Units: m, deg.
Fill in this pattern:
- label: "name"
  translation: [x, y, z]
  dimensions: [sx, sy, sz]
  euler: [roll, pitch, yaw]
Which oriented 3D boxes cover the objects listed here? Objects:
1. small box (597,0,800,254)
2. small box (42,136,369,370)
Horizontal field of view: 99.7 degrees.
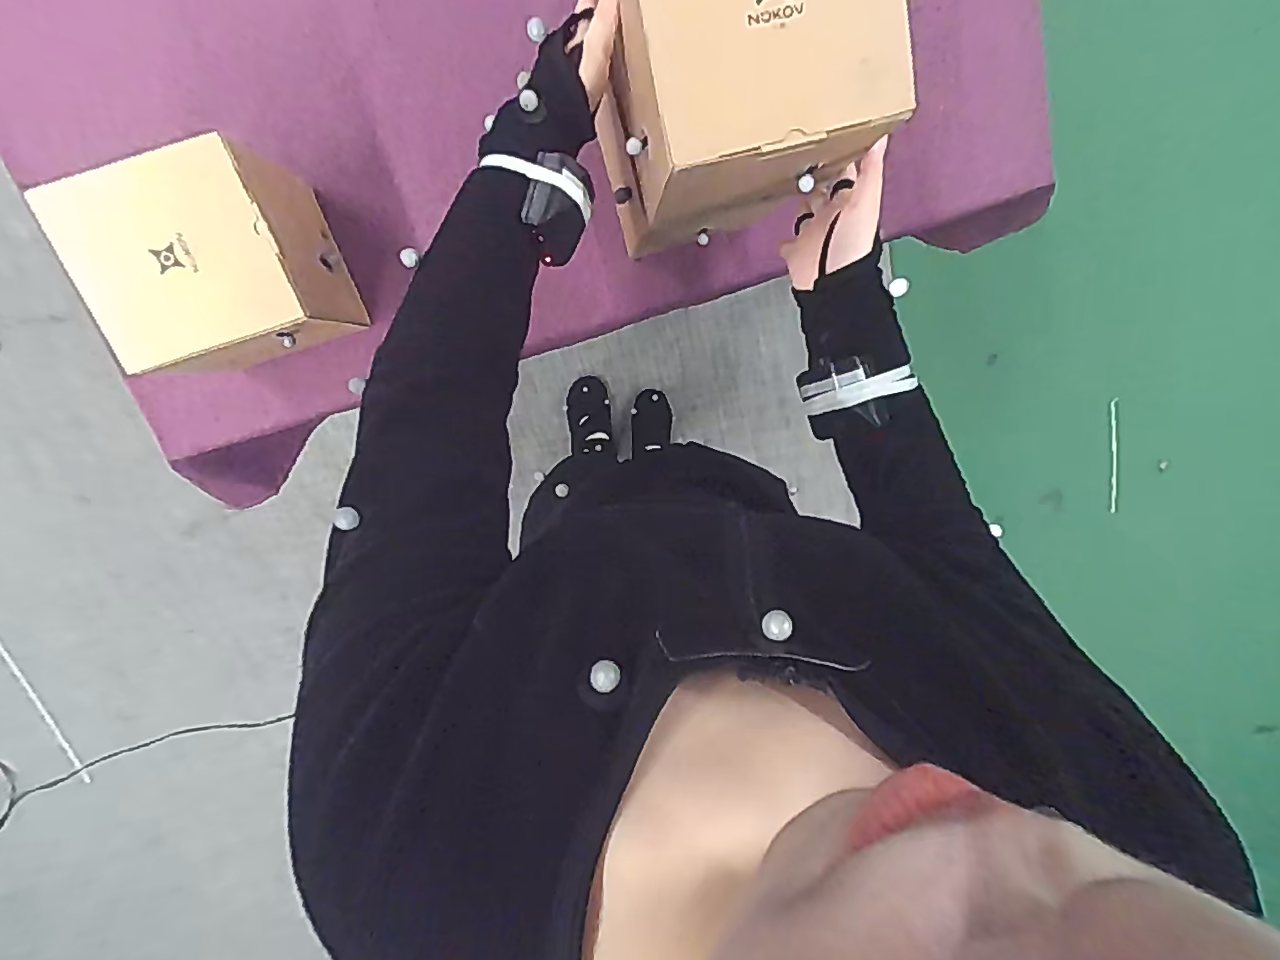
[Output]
- label: "small box"
  translation: [0.054, -0.362, 0.593]
  dimensions: [0.168, 0.176, 0.179]
  euler: [-16, 103, -3]
- label: "small box"
  translation: [-0.428, -0.219, 0.571]
  dimensions: [0.179, 0.176, 0.168]
  euler: [-20, 103, -3]
